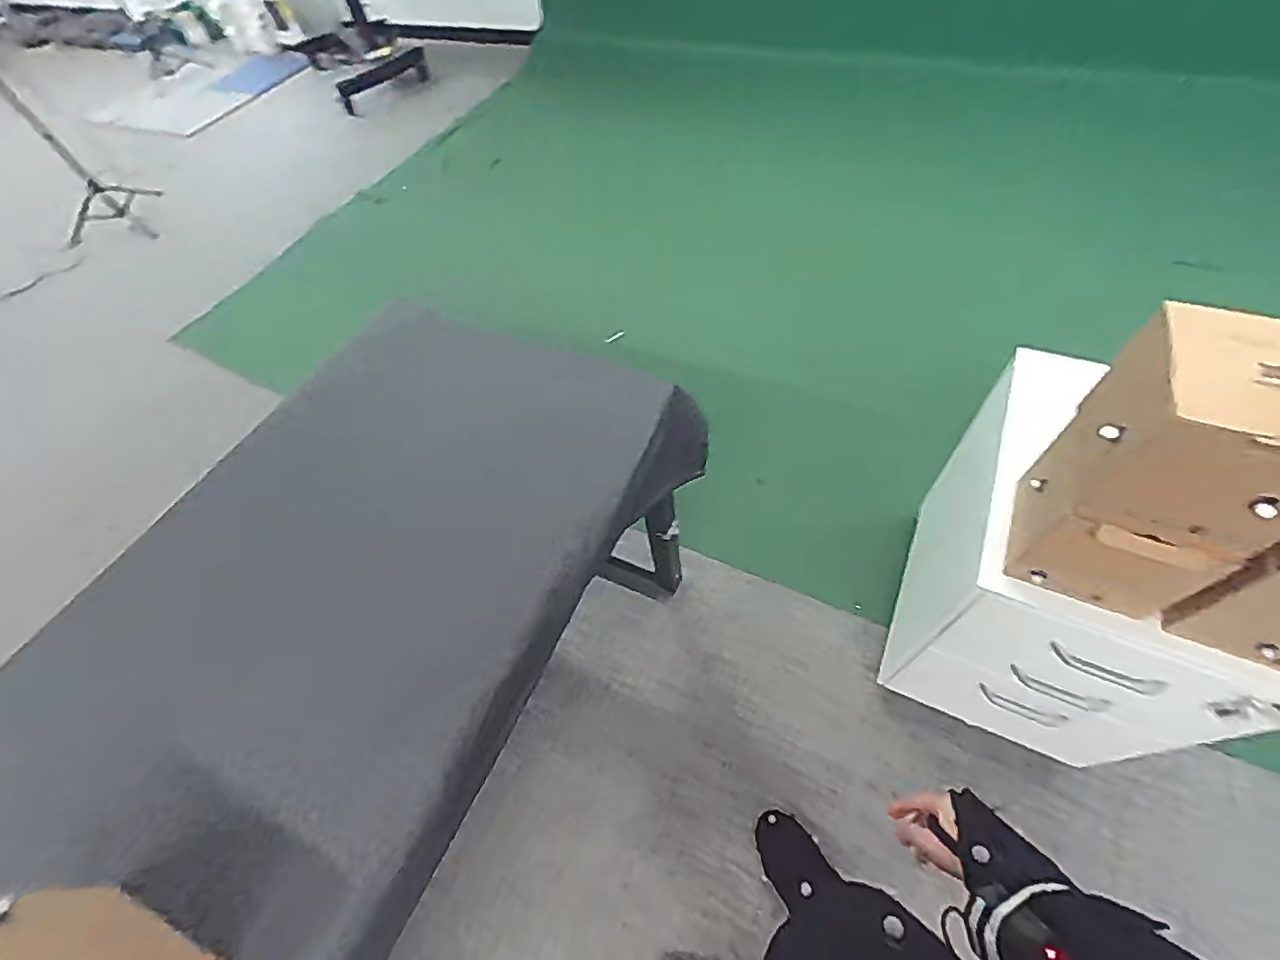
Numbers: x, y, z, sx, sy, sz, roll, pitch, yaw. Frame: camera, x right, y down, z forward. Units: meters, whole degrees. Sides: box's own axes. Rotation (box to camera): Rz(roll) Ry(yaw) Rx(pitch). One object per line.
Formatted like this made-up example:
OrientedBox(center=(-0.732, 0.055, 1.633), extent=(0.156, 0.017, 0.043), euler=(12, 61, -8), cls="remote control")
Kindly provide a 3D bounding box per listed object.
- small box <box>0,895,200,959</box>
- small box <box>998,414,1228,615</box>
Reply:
OrientedBox(center=(-0.488, 0.442, 0.404), extent=(0.179, 0.176, 0.168), euler=(14, 59, 16), cls="small box")
OrientedBox(center=(0.599, 0.049, 0.706), extent=(0.168, 0.176, 0.179), euler=(20, 60, 18), cls="small box")
